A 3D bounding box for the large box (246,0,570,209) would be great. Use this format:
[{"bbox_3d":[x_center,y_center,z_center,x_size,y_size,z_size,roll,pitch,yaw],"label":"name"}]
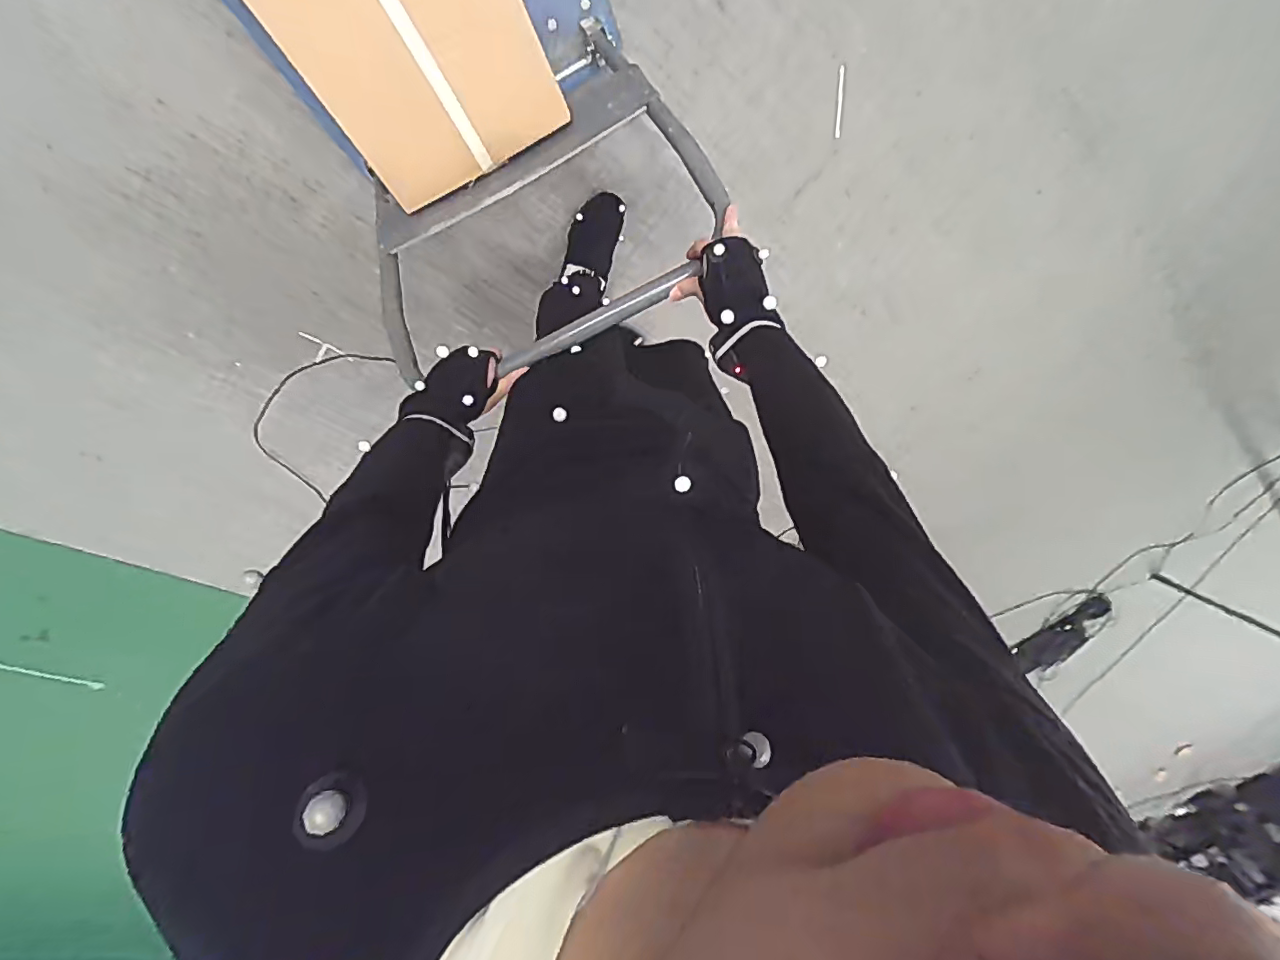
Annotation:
[{"bbox_3d":[-0.354,-0.721,0.813,0.320,0.320,0.408,-26,142,7],"label":"large box"}]
